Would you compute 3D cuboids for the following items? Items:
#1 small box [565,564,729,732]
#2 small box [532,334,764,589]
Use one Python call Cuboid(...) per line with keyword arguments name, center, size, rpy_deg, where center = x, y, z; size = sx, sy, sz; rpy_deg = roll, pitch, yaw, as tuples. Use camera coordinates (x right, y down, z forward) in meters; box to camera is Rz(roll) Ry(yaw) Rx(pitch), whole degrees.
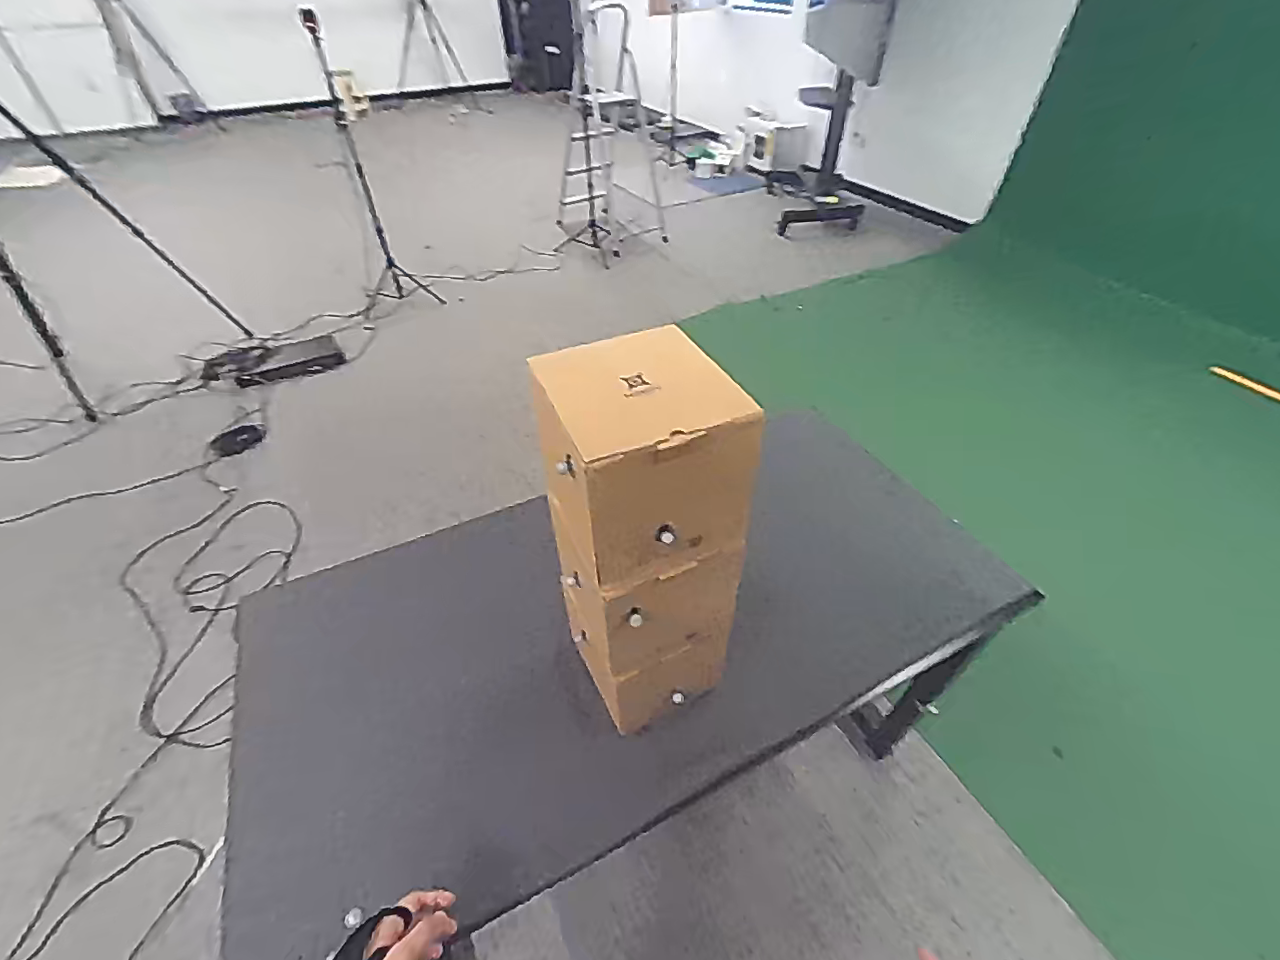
Cuboid(name="small box", center=(0.005, 0.220, 0.773), size=(0.168, 0.176, 0.179), rpy_deg=(-21, 48, -19))
Cuboid(name="small box", center=(0.000, -0.022, 0.553), size=(0.168, 0.176, 0.179), rpy_deg=(-18, 46, -17))
